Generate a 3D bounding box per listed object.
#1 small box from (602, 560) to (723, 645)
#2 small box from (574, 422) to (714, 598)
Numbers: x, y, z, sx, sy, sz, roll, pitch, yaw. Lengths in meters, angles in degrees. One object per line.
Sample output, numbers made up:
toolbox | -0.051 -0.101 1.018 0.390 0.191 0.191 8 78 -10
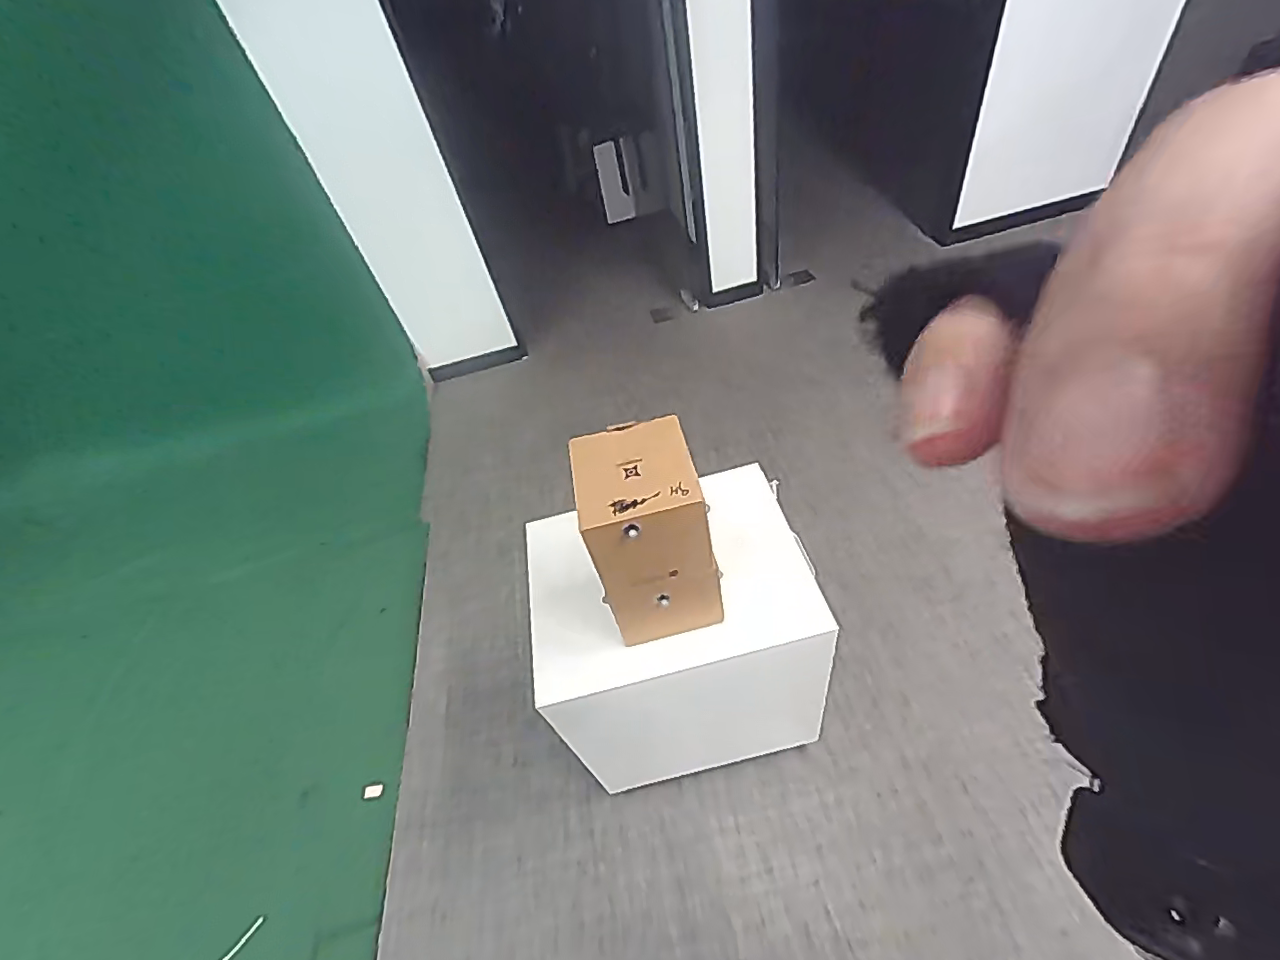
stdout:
small box | 0.034 0.158 0.919 0.179 0.176 0.168 -14 46 -1
small box | 0.007 0.046 0.806 0.168 0.176 0.179 -15 47 -1
